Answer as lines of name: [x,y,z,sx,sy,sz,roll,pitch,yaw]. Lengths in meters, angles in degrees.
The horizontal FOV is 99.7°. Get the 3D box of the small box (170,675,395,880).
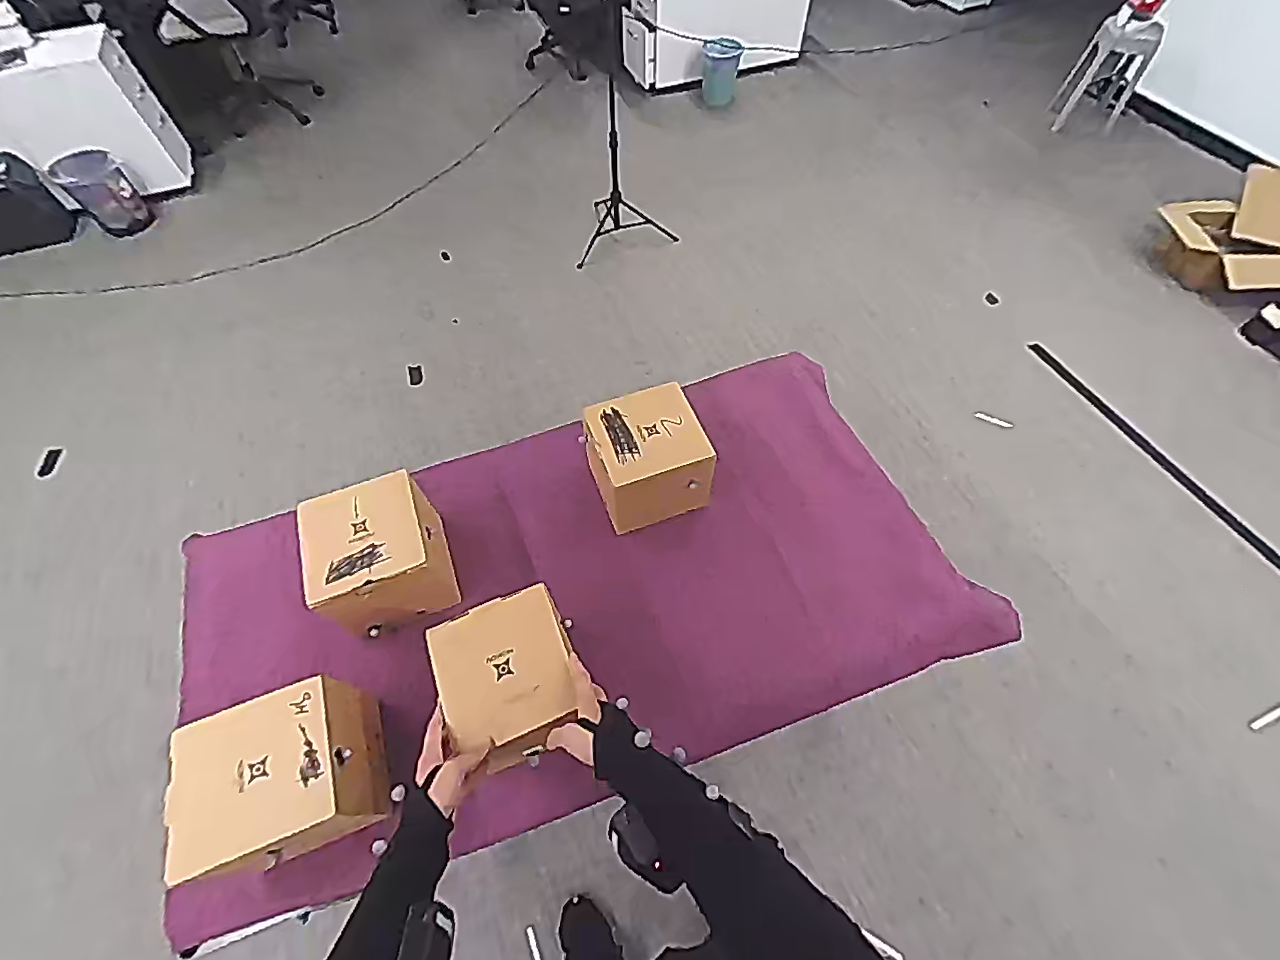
small box: [-0.445,0.378,0.694,0.179,0.176,0.168,-19,61,-10]

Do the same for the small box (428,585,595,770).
small box: [-0.172,0.279,0.754,0.168,0.176,0.179,-21,61,-10]

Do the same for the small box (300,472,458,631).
small box: [-0.404,0.122,0.855,0.168,0.176,0.179,-20,60,-12]
